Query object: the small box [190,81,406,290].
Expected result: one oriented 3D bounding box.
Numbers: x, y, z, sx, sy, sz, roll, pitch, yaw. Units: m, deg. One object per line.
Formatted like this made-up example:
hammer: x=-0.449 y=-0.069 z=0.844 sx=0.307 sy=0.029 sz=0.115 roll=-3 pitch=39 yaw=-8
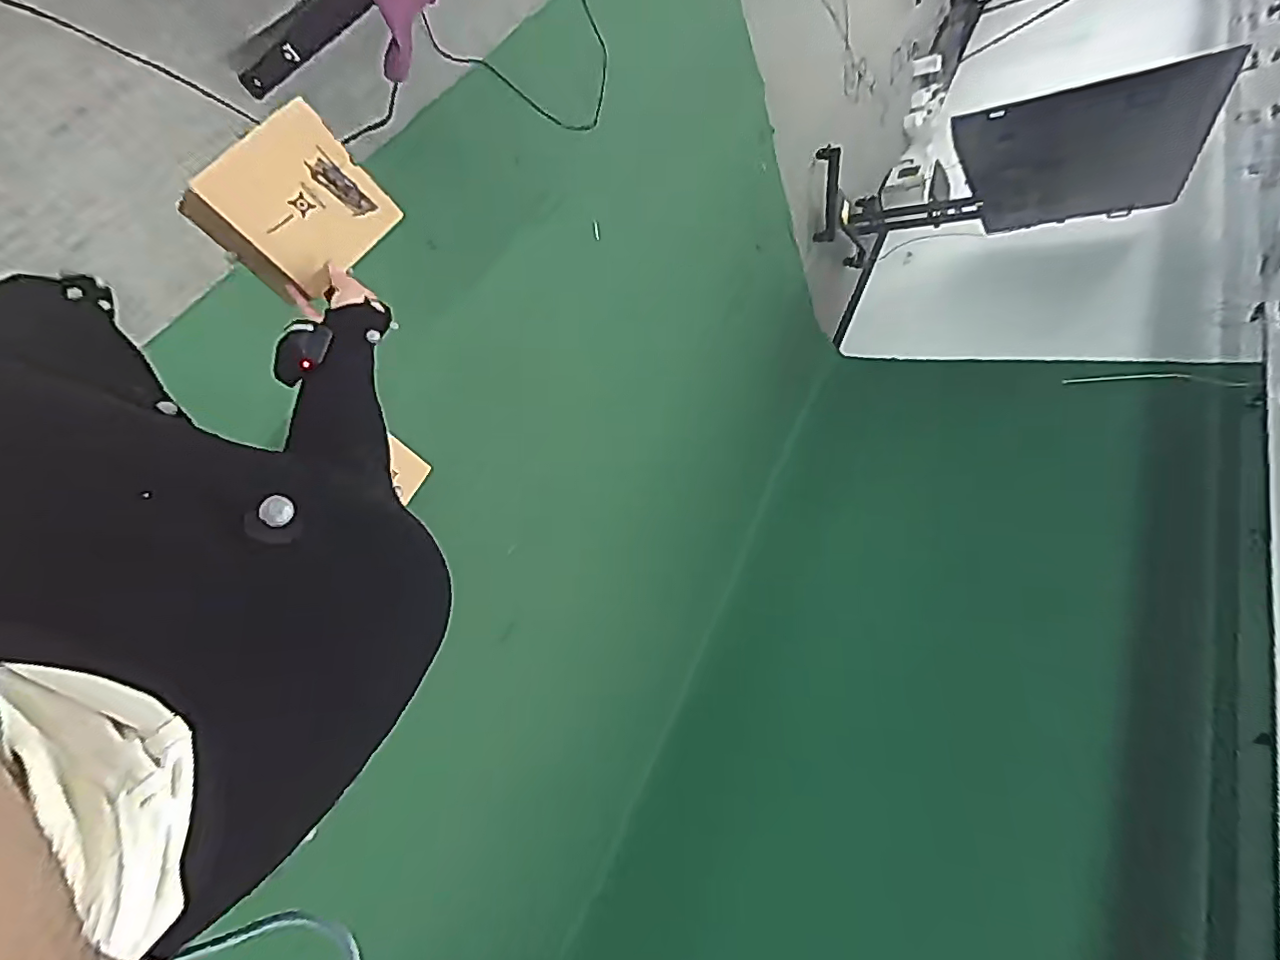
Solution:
small box: x=-0.458 y=-0.377 z=0.722 sx=0.179 sy=0.176 sz=0.168 roll=-55 pitch=131 yaw=-16
